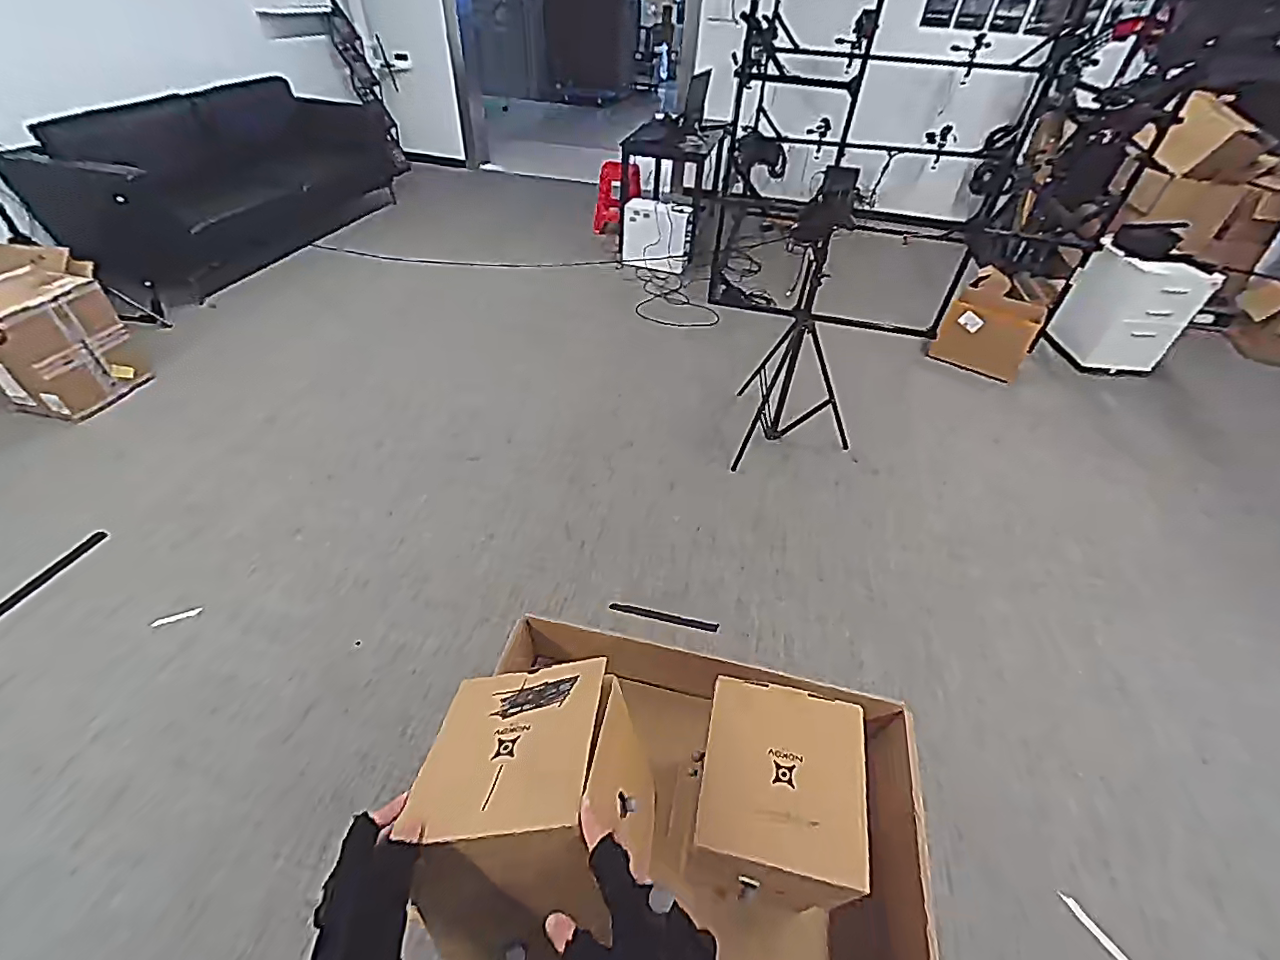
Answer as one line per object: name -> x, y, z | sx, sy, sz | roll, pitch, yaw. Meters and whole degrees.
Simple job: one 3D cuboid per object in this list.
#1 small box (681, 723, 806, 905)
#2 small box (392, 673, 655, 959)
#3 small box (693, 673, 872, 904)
small box -> 0.160, 0.461, 0.745 | 0.179, 0.176, 0.168 | 10, 48, 9
small box -> -0.088, 0.316, 0.507 | 0.168, 0.176, 0.179 | -14, 16, 10
small box -> 0.155, 0.354, 0.621 | 0.168, 0.176, 0.179 | 8, 49, 10
